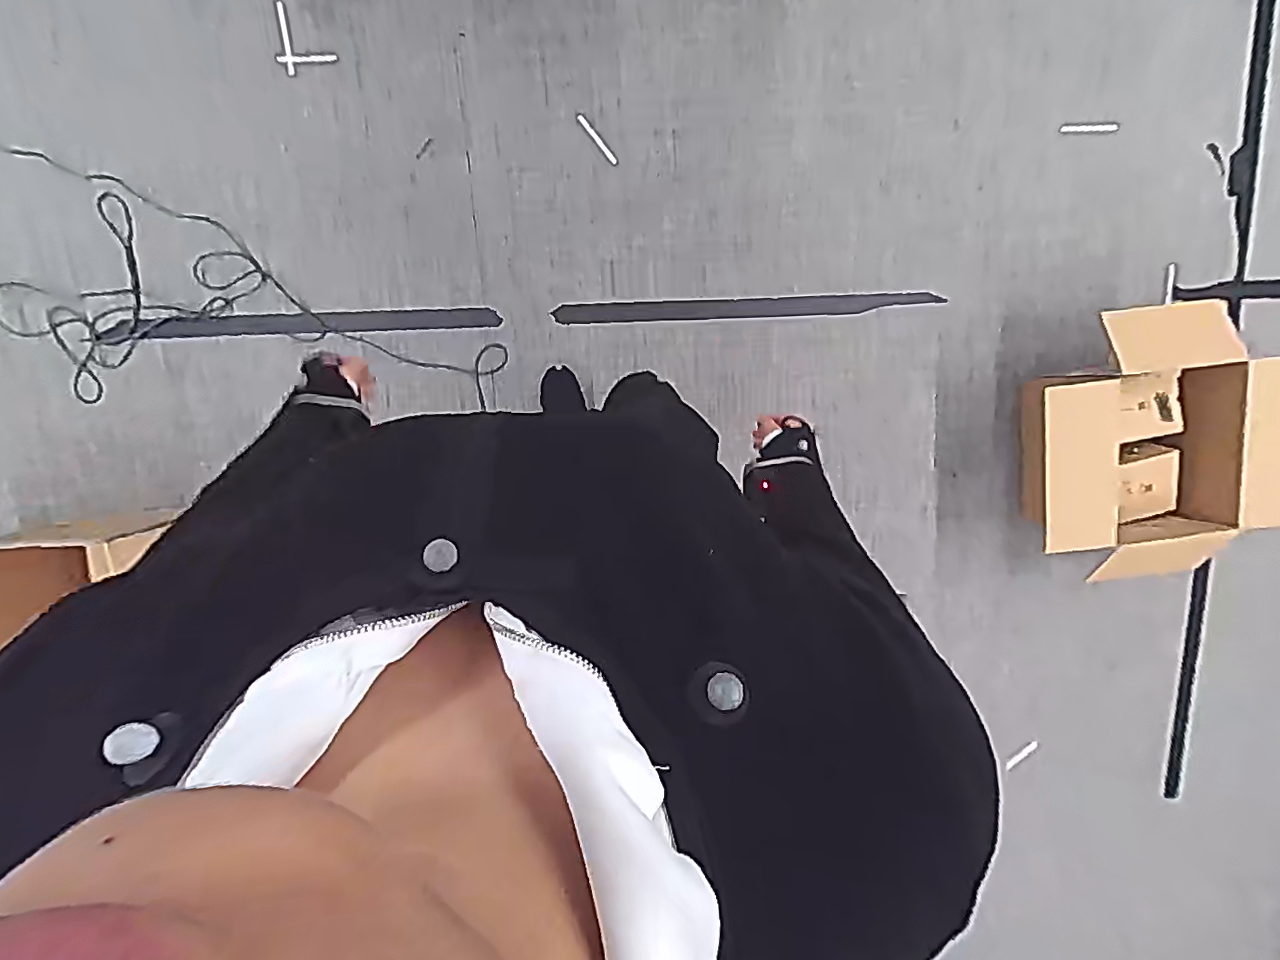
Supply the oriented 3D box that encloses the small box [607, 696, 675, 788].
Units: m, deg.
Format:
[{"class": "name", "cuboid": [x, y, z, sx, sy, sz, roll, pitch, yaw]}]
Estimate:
[{"class": "small box", "cuboid": [0.000, 0.713, 1.489, 0.179, 0.176, 0.168, -2, 98, -1]}]
